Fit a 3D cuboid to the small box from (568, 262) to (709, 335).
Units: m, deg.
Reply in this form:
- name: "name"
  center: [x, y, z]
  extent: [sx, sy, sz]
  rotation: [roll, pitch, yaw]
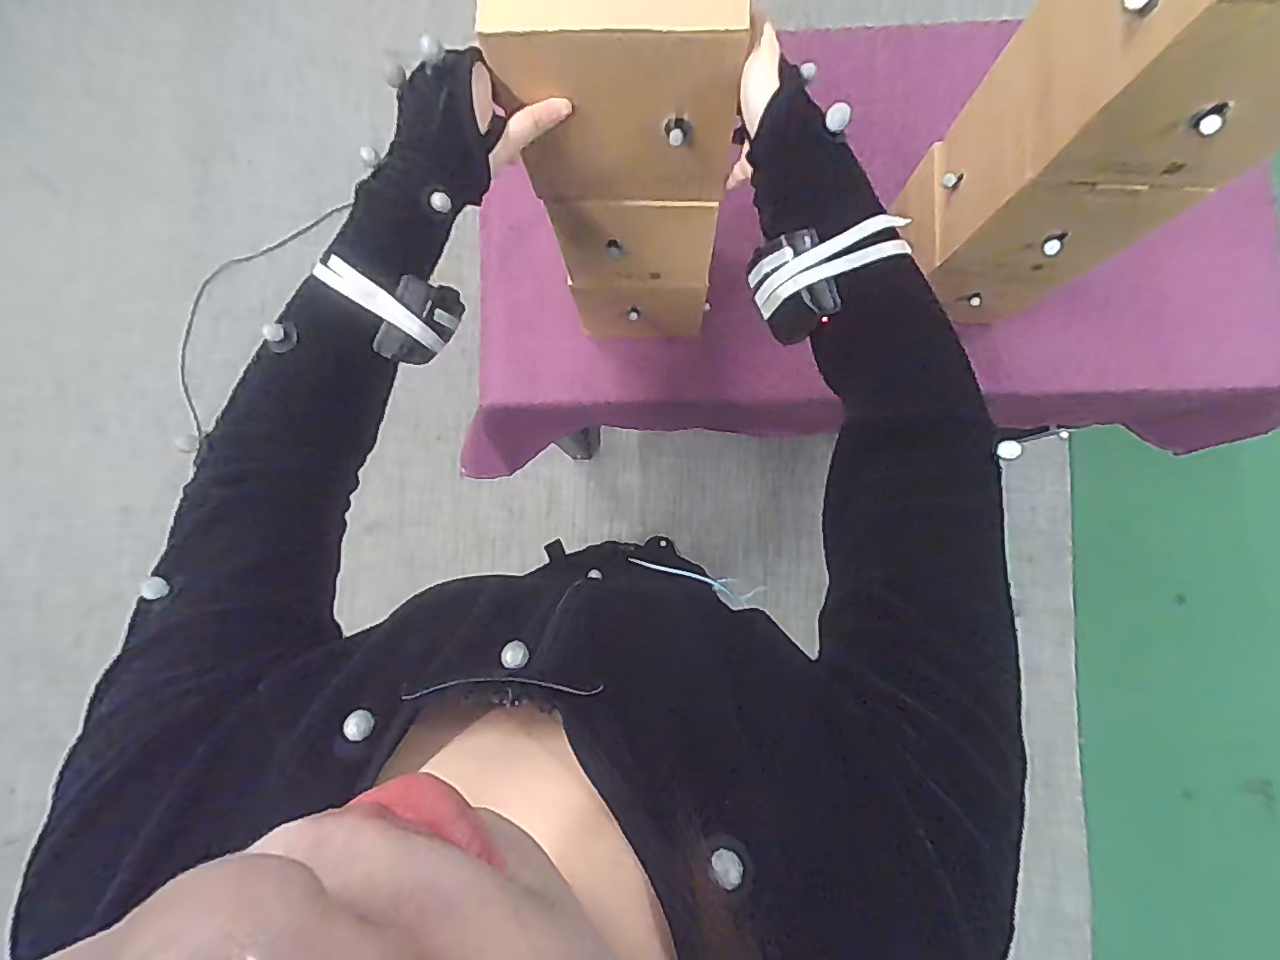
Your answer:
- name: "small box"
  center: [0.002, -0.311, 0.754]
  extent: [0.179, 0.176, 0.168]
  rotation: [1, 84, 3]

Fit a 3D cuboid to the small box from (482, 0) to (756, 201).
- name: "small box"
  center: [-0.008, -0.348, 0.431]
  extent: [0.179, 0.176, 0.168]
  rotation: [3, 83, 3]

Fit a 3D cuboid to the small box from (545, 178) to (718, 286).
- name: "small box"
  center: [-0.001, -0.330, 0.592]
  extent: [0.168, 0.176, 0.179]
  rotation: [2, 83, 2]

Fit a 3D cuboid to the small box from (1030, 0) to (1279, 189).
- name: "small box"
  center: [0.435, -0.353, 0.412]
  extent: [0.168, 0.176, 0.179]
  rotation: [4, 84, 3]

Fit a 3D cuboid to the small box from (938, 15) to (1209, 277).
- name: "small box"
  center: [0.443, -0.337, 0.577]
  extent: [0.168, 0.176, 0.179]
  rotation: [6, 85, 3]
